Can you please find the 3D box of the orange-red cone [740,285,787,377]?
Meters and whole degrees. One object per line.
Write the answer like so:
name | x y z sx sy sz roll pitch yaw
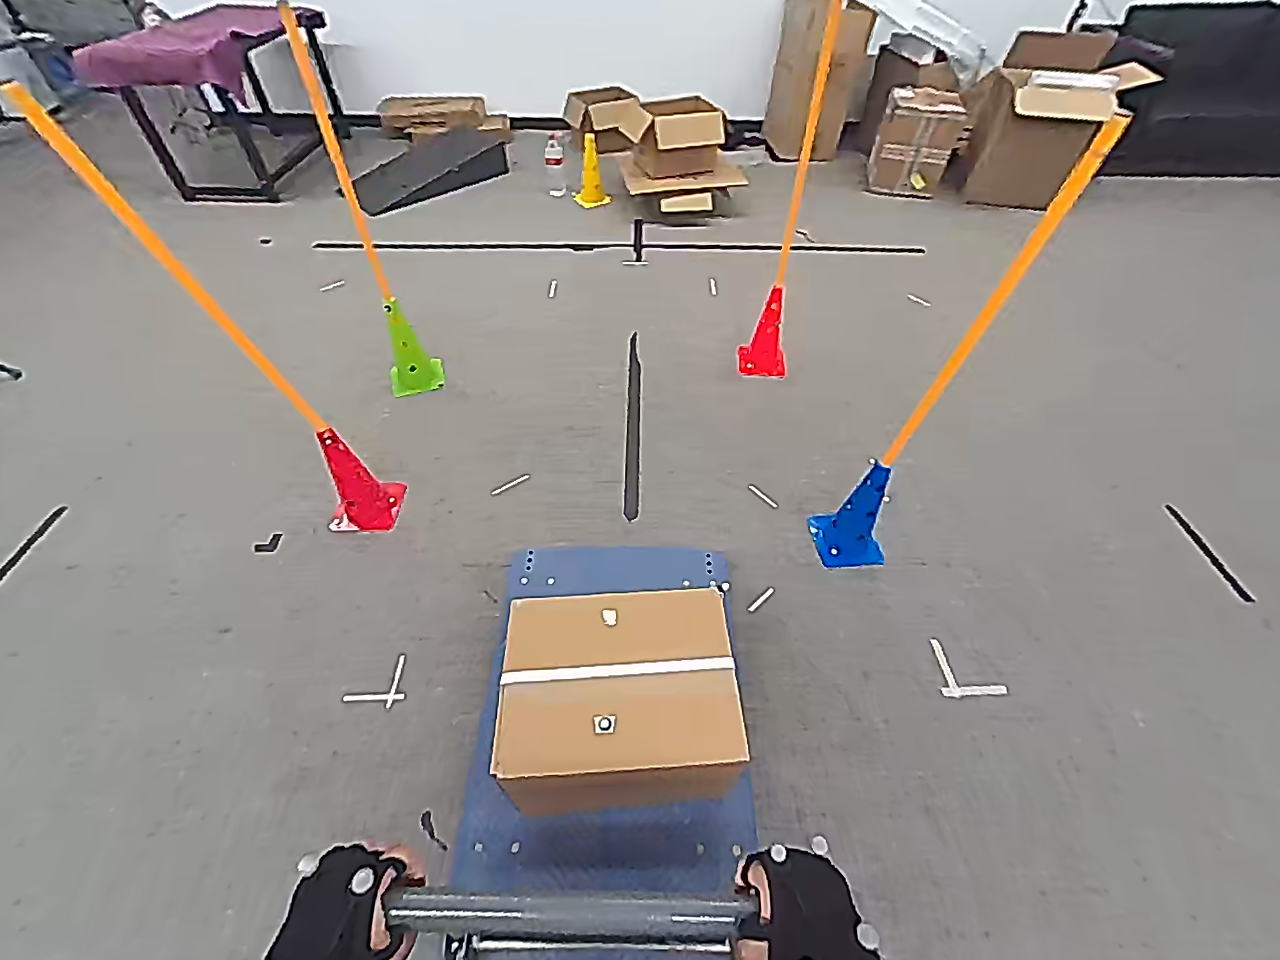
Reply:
orange-red cone | 0.533 -0.619 2.185 0.199 0.360 0.198 6 50 3

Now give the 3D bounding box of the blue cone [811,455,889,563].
blue cone | 0.662 0.075 1.609 0.193 0.380 0.192 -2 48 -4
